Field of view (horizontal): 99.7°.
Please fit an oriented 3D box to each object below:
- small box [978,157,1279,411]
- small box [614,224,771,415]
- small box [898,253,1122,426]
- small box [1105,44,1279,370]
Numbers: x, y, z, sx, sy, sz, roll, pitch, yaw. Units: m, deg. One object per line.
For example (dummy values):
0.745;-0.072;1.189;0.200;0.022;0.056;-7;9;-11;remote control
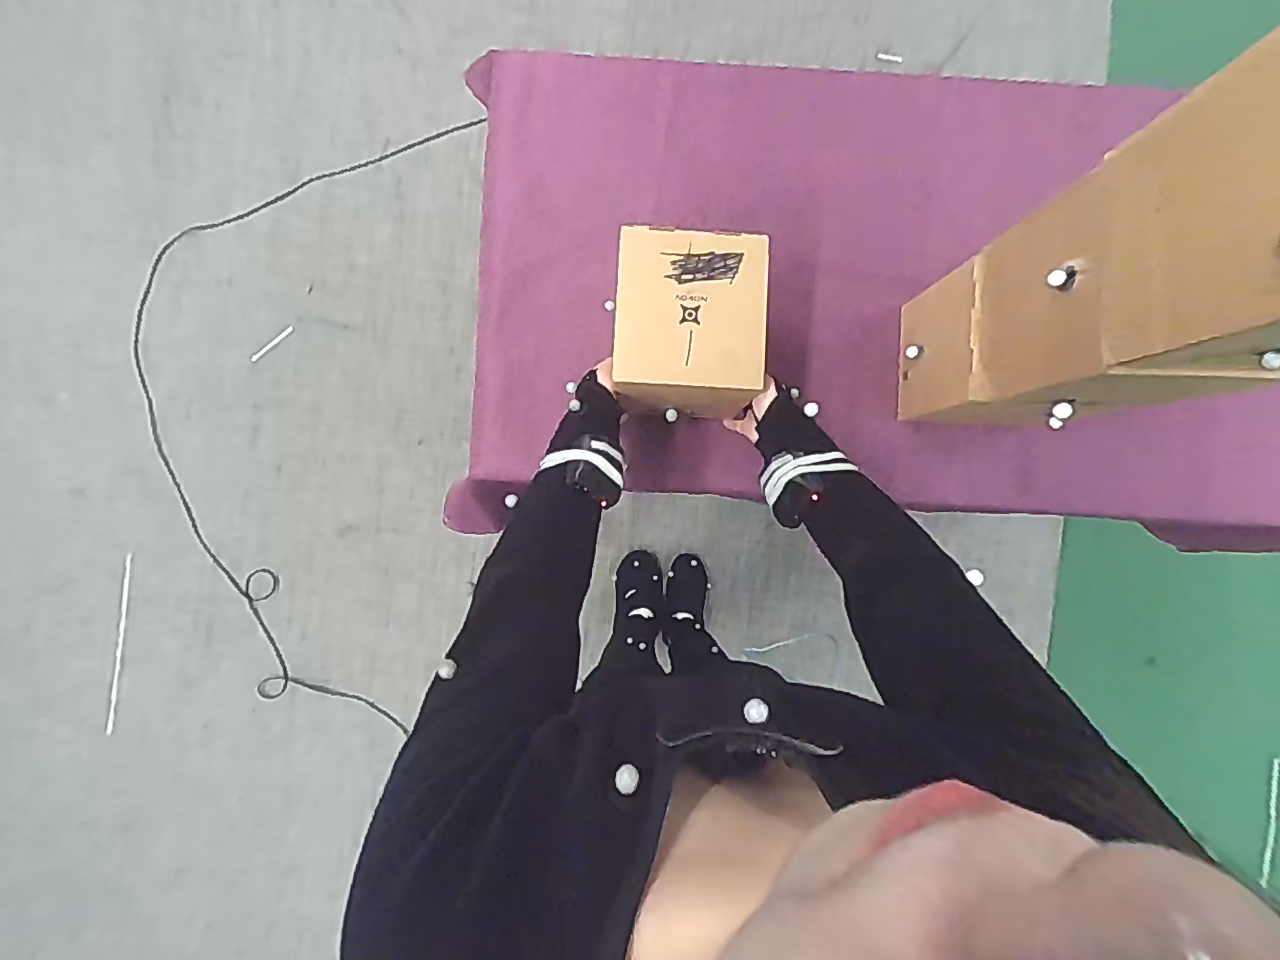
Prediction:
0.451;-0.167;0.510;0.168;0.176;0.179;2;90;1;small box
0.056;-0.185;0.669;0.168;0.176;0.179;3;87;-1;small box
0.451;-0.161;0.673;0.179;0.176;0.168;3;88;0;small box
0.448;-0.176;0.348;0.168;0.176;0.179;0;90;1;small box
